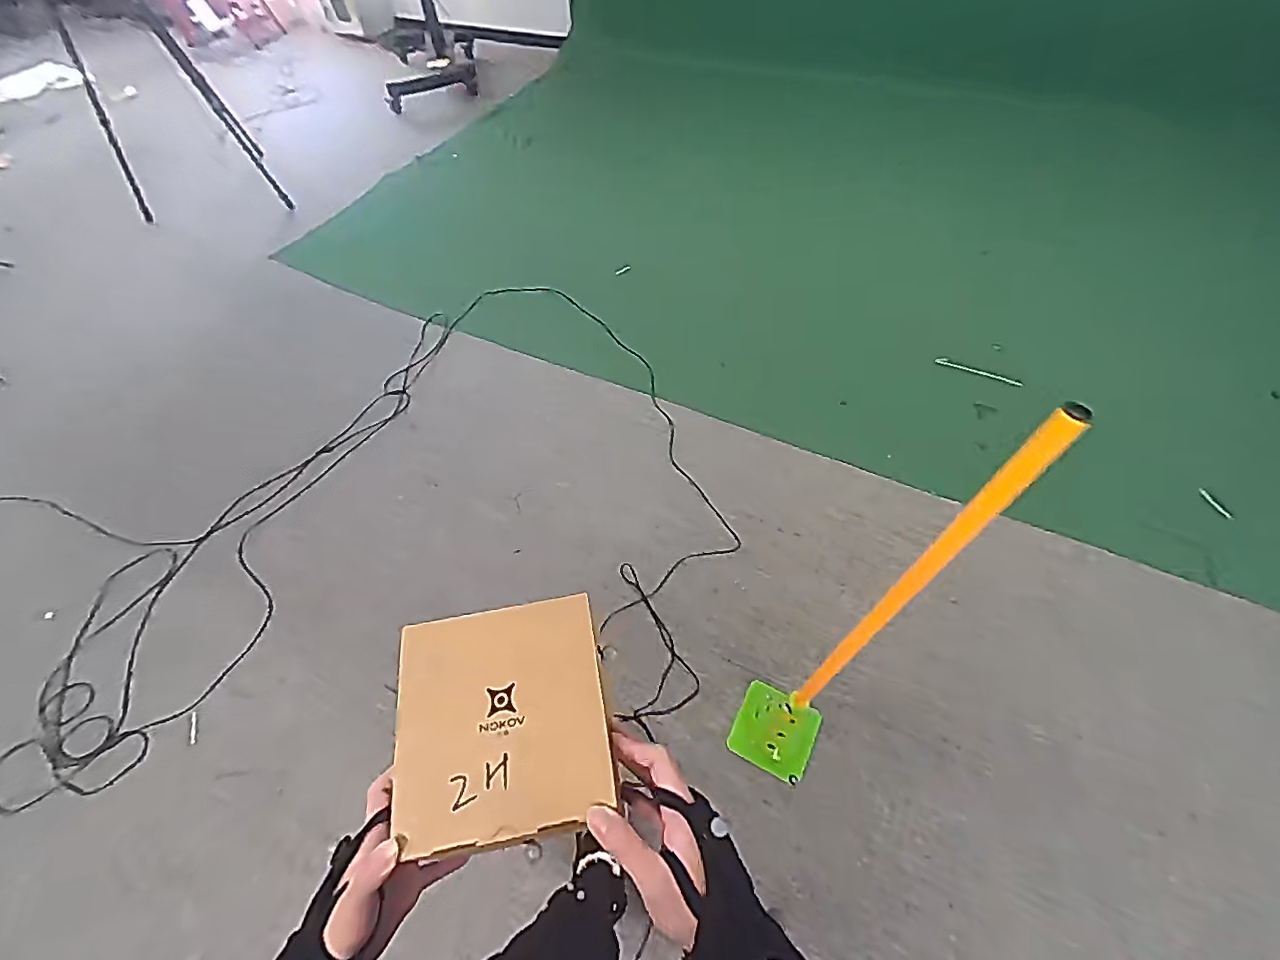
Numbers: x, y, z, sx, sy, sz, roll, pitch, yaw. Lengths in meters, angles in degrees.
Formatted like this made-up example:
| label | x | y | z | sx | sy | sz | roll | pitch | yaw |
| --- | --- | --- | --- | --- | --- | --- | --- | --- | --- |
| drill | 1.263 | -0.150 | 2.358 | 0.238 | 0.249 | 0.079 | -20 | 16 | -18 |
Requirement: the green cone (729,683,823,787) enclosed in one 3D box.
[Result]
| label | x | y | z | sx | sy | sz | roll | pitch | yaw |
| --- | --- | --- | --- | --- | --- | --- | --- | --- | --- |
| green cone | 0.344 | 0.555 | 1.265 | 0.202 | 0.368 | 0.200 | 22 | 59 | 19 |
